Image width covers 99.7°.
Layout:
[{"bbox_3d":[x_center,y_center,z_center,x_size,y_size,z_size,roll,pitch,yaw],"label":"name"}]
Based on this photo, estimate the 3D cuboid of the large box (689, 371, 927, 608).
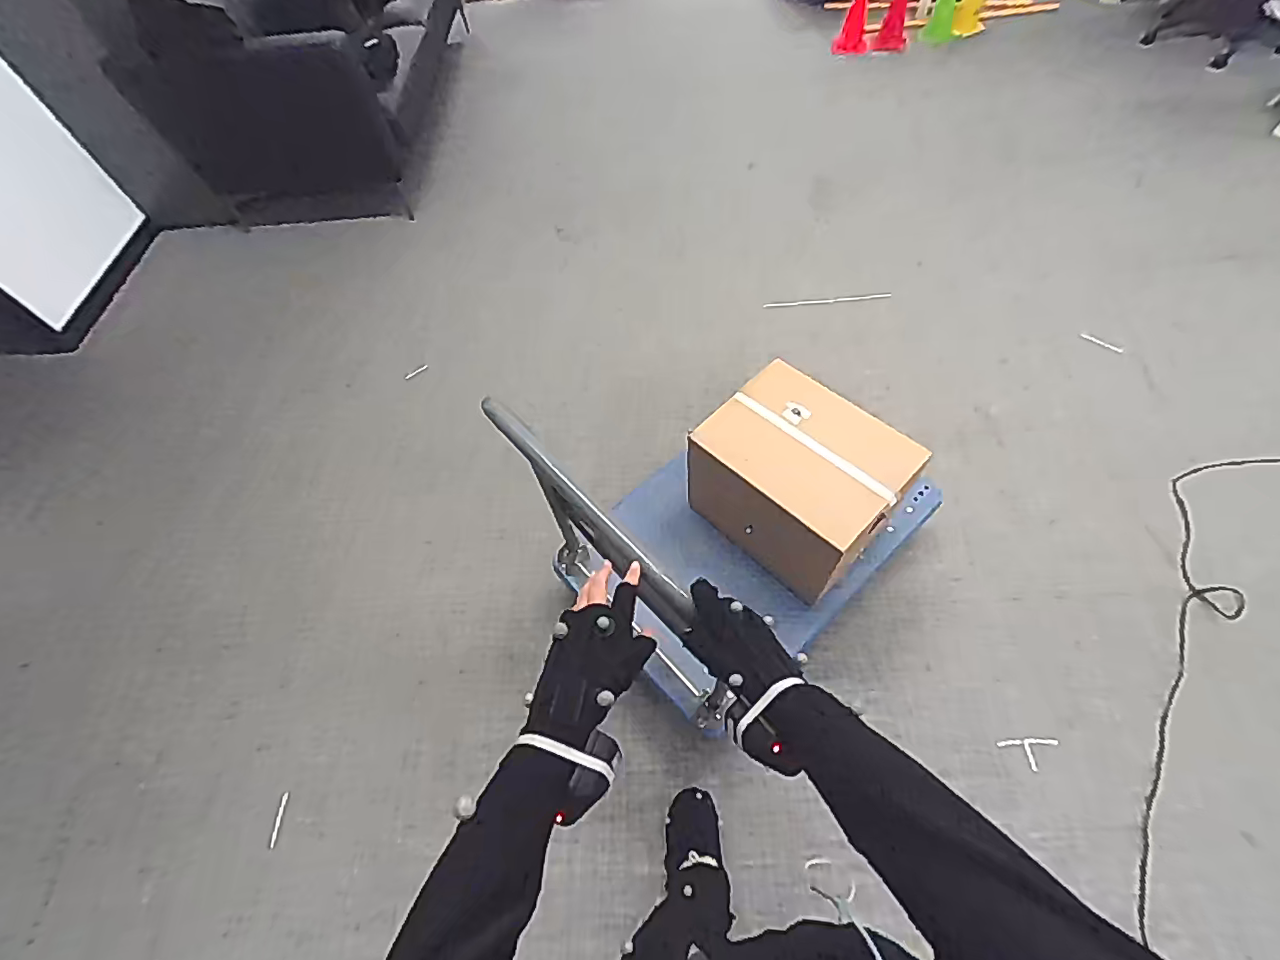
[{"bbox_3d":[0.367,0.023,1.280,0.320,0.320,0.408,-40,62,-20],"label":"large box"}]
